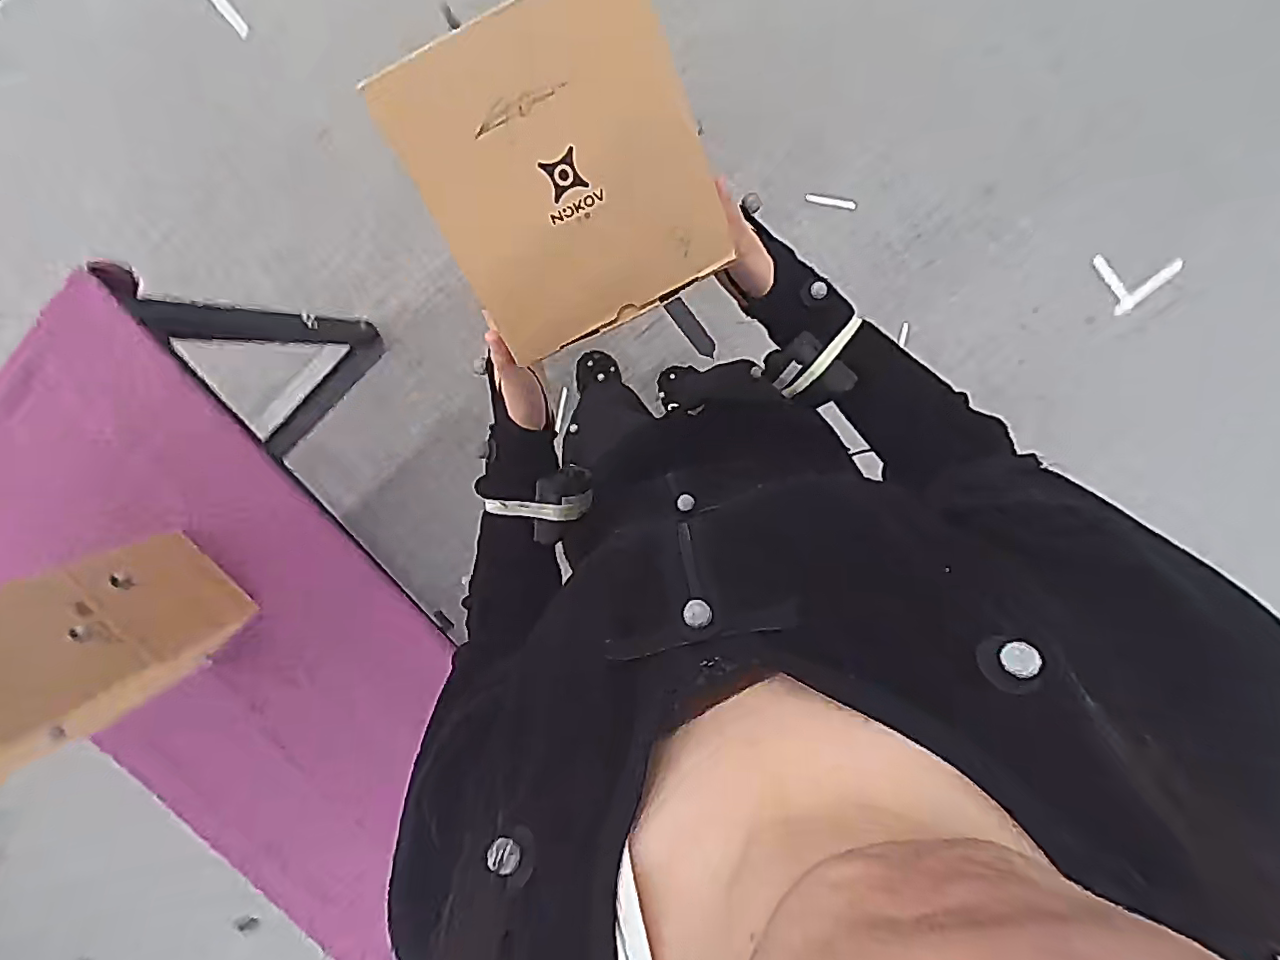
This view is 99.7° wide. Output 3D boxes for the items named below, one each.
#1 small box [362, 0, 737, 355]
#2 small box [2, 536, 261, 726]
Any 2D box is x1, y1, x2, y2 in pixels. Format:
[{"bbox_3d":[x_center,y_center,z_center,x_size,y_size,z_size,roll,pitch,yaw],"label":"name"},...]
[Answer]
[{"bbox_3d":[-0.052,-0.219,0.392,0.168,0.176,0.179,-26,115,4],"label":"small box"},{"bbox_3d":[-0.712,0.201,0.777,0.168,0.176,0.179,-40,97,13],"label":"small box"}]
